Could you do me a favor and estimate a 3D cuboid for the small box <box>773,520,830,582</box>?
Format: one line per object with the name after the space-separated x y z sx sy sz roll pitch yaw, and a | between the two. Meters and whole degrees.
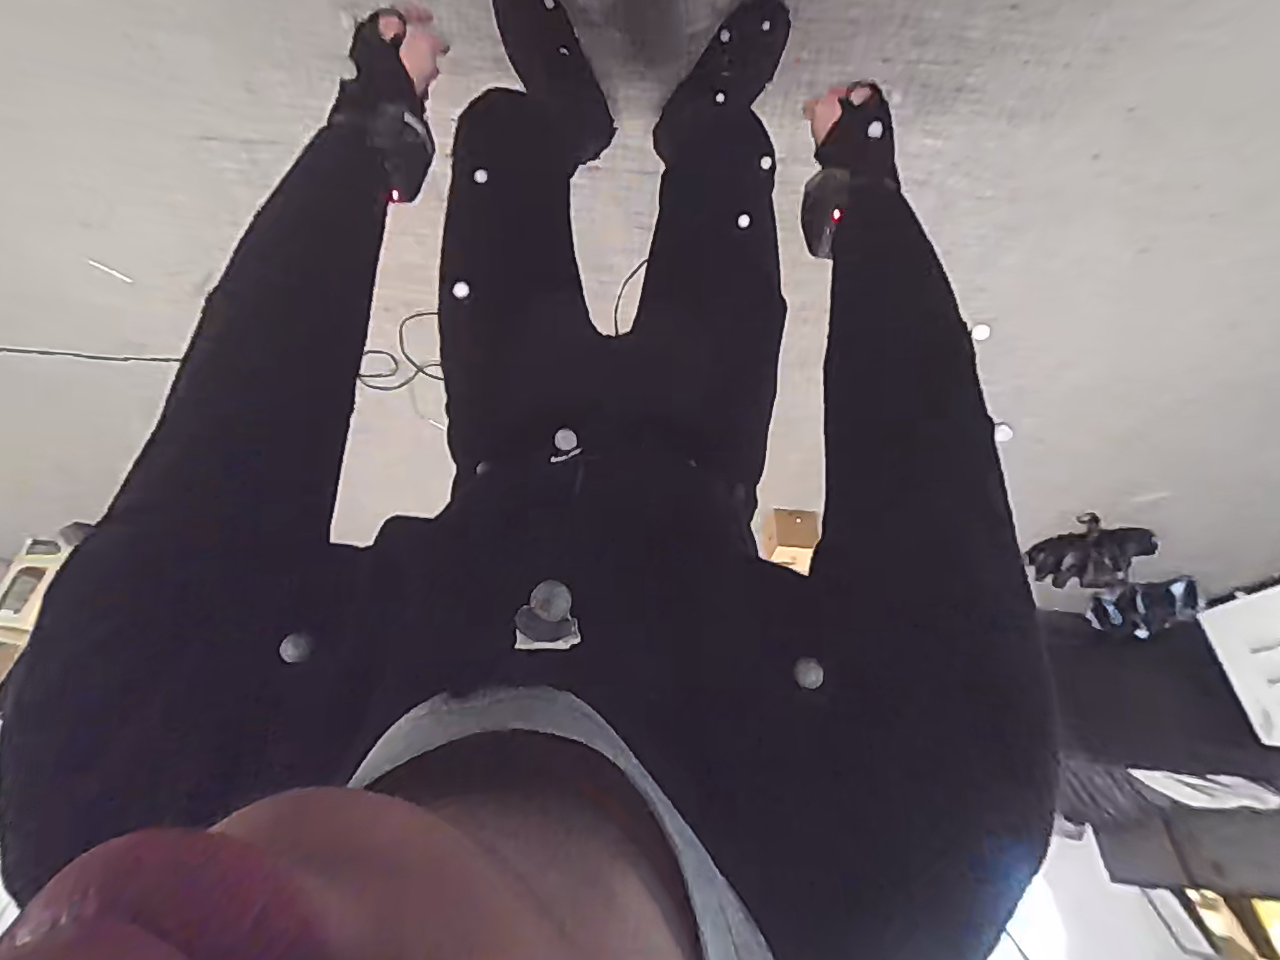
0.616 0.275 2.083 0.168 0.176 0.179 5 145 0 | small box
